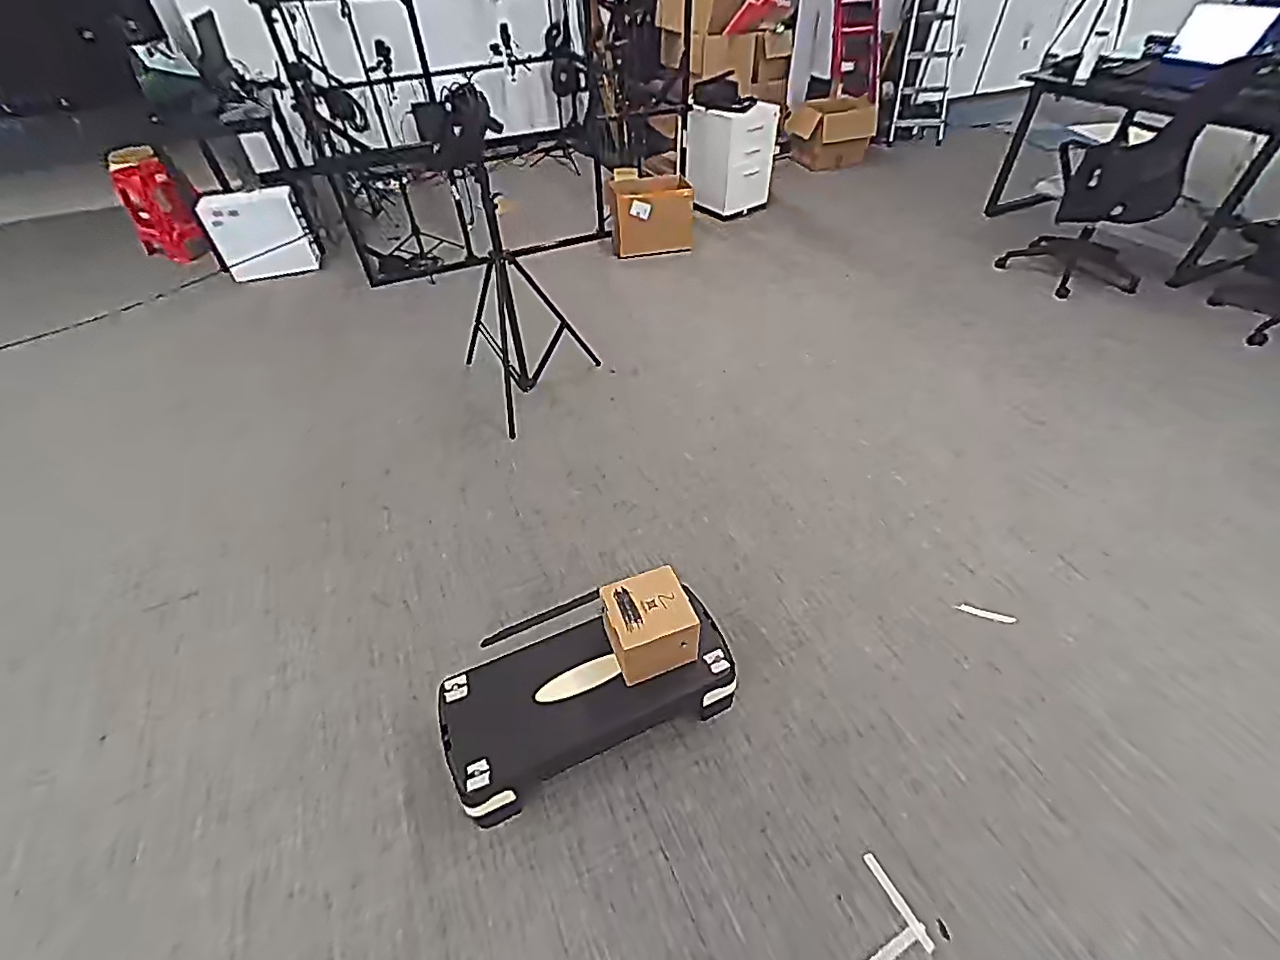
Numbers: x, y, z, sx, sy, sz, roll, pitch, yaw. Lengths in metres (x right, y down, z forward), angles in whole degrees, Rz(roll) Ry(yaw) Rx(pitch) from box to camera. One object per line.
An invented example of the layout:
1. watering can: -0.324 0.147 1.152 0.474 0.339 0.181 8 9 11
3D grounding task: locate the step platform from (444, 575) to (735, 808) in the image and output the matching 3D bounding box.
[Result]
1. step platform: -0.112 0.490 1.318 0.684 0.204 0.286 -20 48 -16
